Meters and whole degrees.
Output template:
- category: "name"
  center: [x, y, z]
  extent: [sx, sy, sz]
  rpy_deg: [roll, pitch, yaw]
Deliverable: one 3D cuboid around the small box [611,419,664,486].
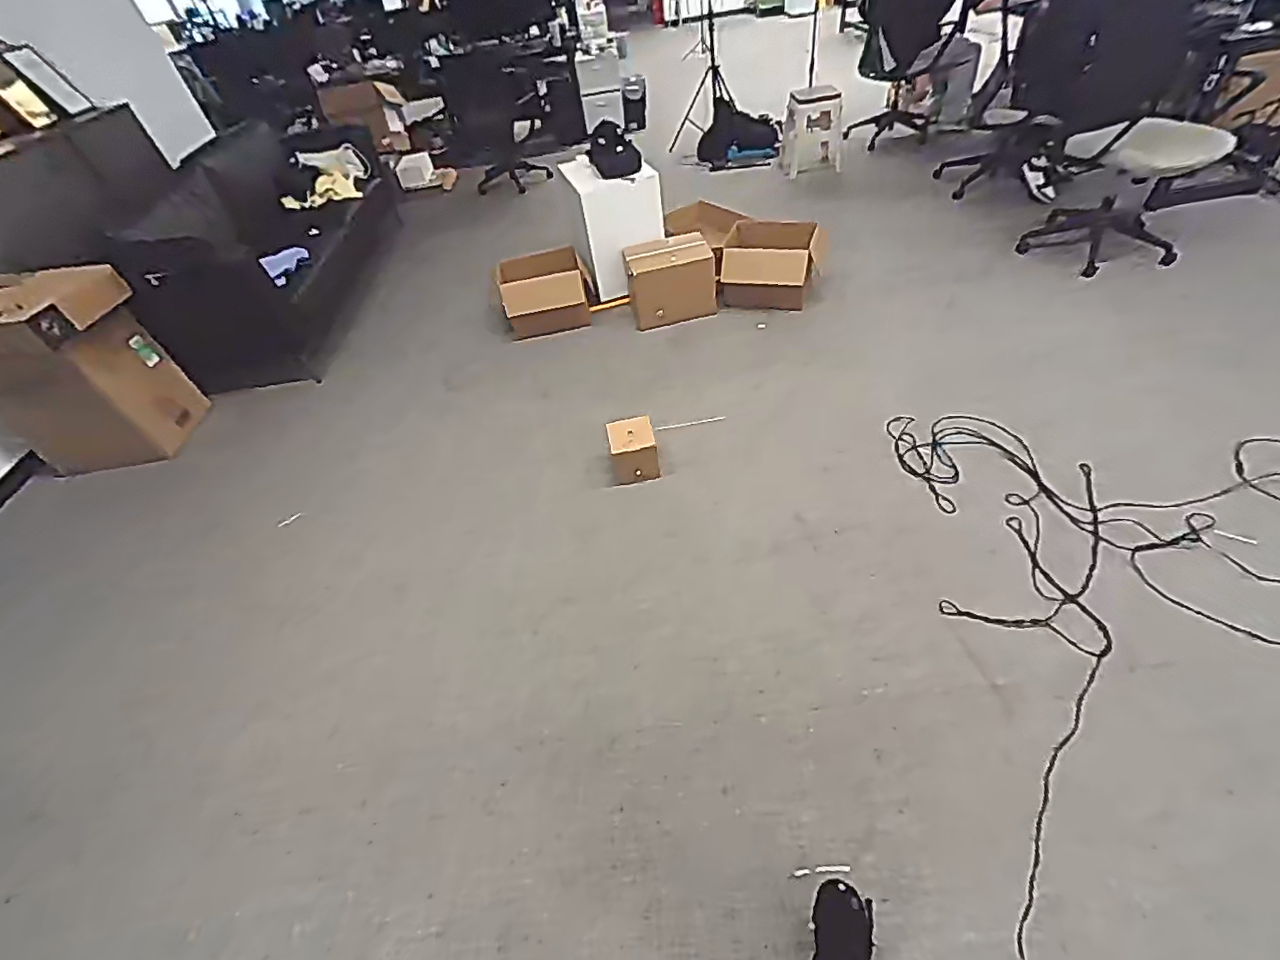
- category: "small box"
  center: [-0.010, -0.102, 2.041]
  extent: [0.168, 0.176, 0.179]
  rpy_deg: [-12, 46, 0]
